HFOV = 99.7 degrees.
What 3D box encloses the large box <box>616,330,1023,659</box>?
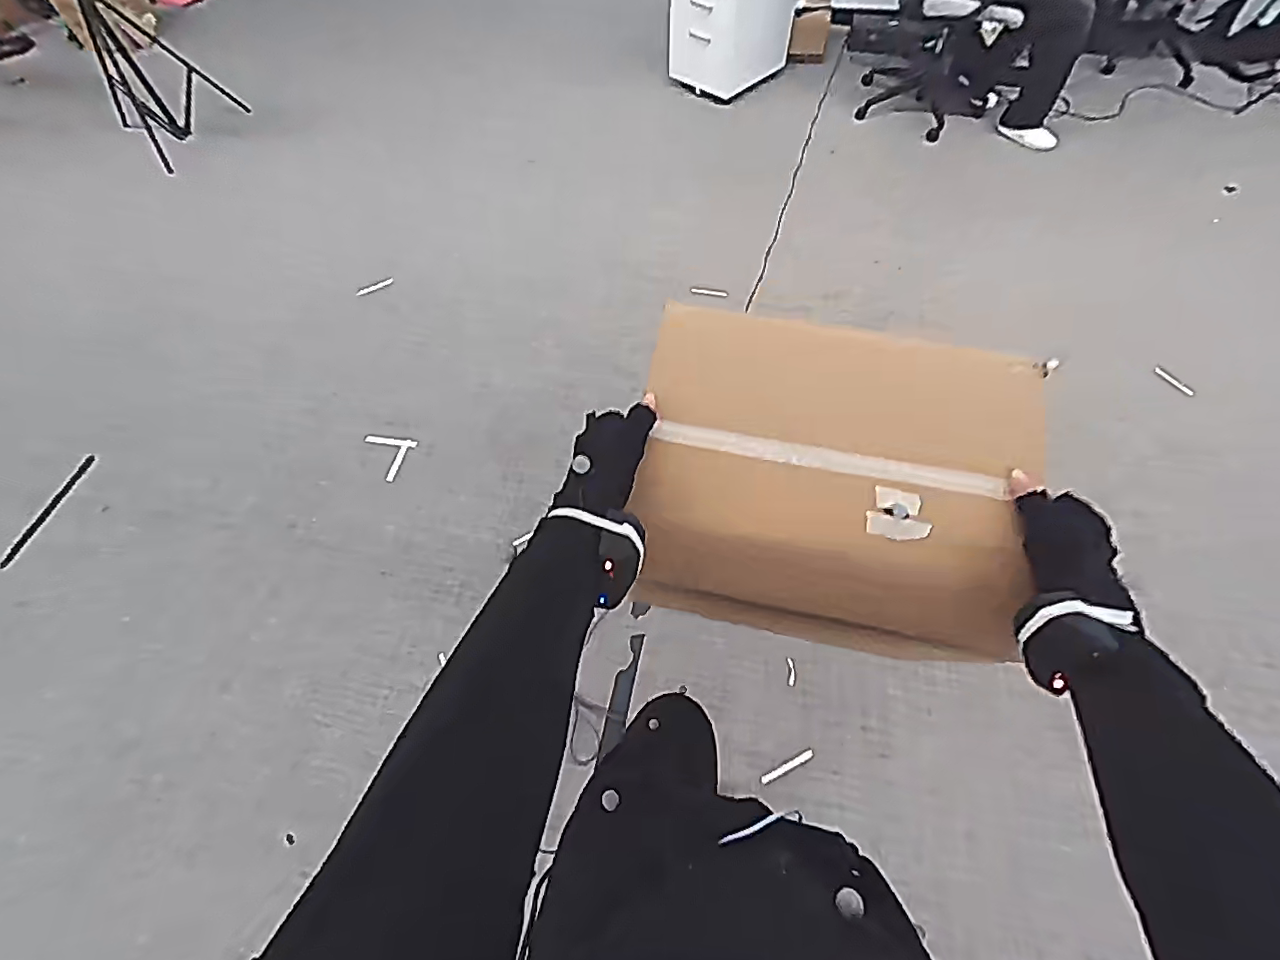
[{"bbox_3d":[0.201,0.041,0.716,0.408,0.320,0.320,10,73,6],"label":"large box"}]
